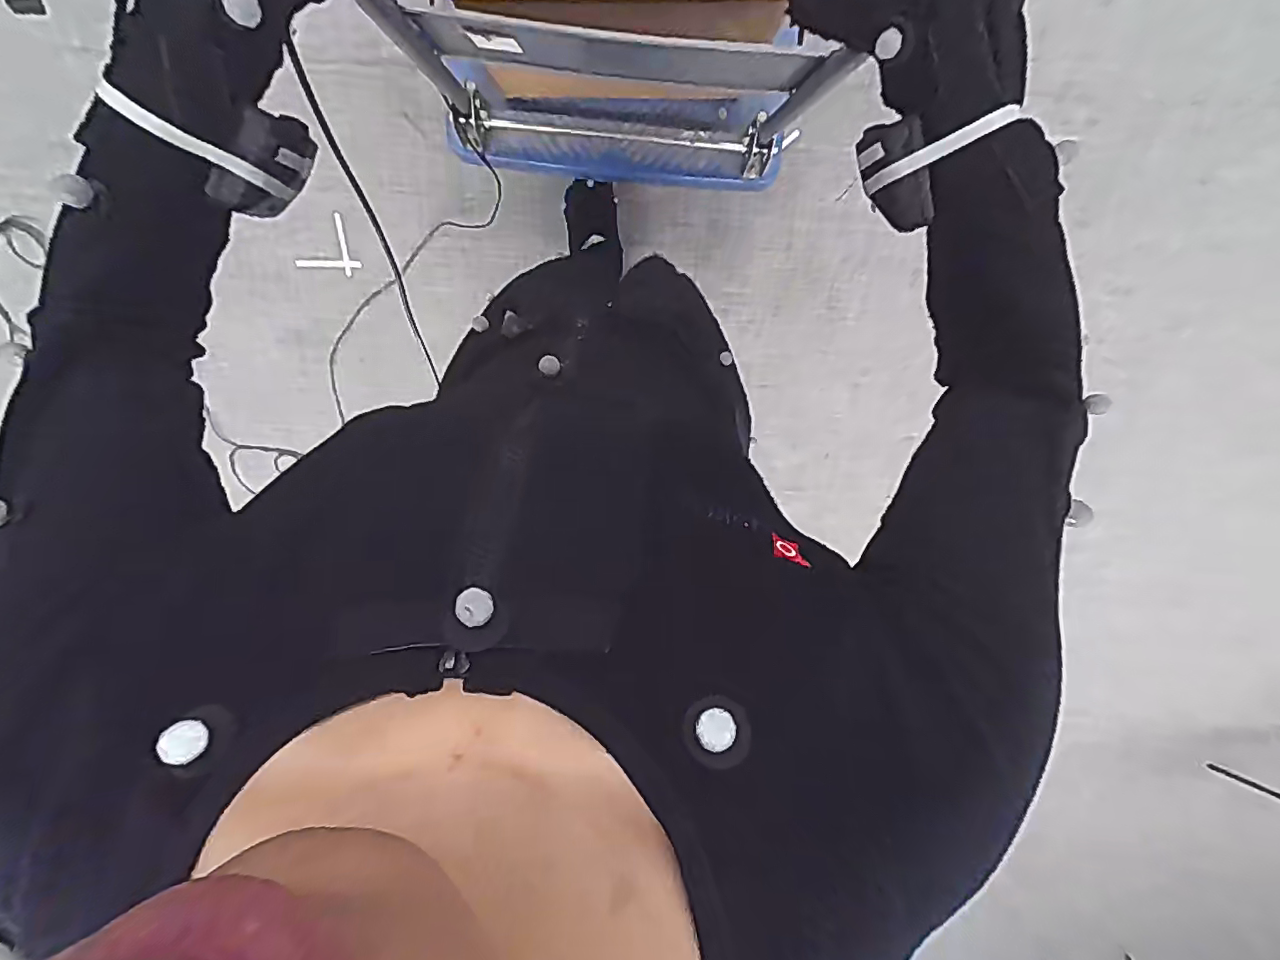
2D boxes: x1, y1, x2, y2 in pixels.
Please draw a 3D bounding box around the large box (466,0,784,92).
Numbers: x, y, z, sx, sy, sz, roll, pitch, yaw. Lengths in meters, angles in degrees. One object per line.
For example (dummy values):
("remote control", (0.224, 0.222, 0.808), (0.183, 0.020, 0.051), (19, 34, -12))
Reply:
("large box", (-0.028, -0.761, 0.728), (0.408, 0.320, 0.320), (-2, 108, -3))
